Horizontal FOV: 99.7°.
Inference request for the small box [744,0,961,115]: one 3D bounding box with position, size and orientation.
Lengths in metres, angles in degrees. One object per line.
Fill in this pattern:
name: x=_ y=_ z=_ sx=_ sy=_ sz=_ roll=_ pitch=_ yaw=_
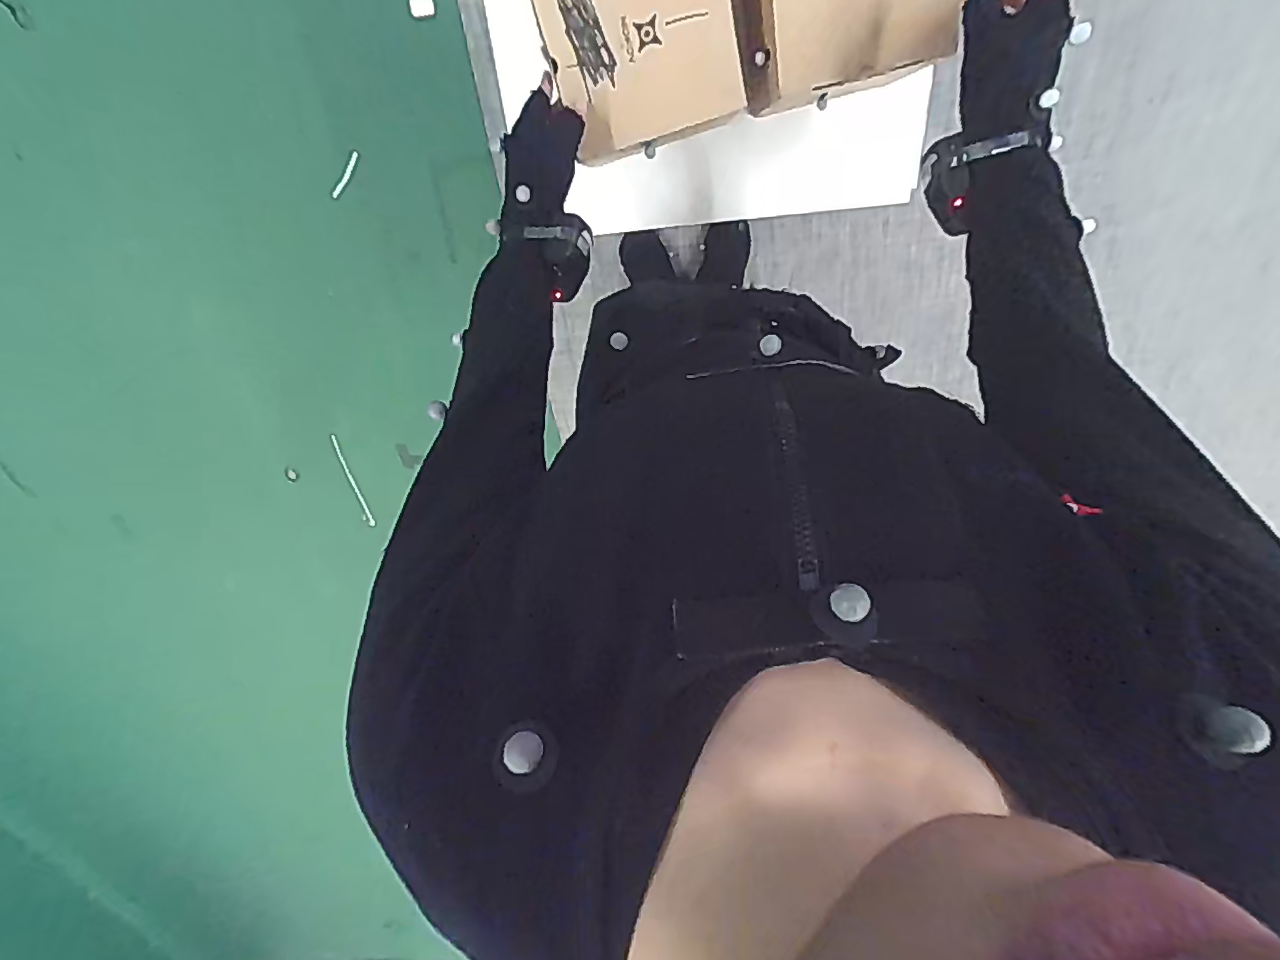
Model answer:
small box: x=0.198 y=-0.492 z=0.539 sx=0.168 sy=0.176 sz=0.179 roll=-10 pitch=119 yaw=8
